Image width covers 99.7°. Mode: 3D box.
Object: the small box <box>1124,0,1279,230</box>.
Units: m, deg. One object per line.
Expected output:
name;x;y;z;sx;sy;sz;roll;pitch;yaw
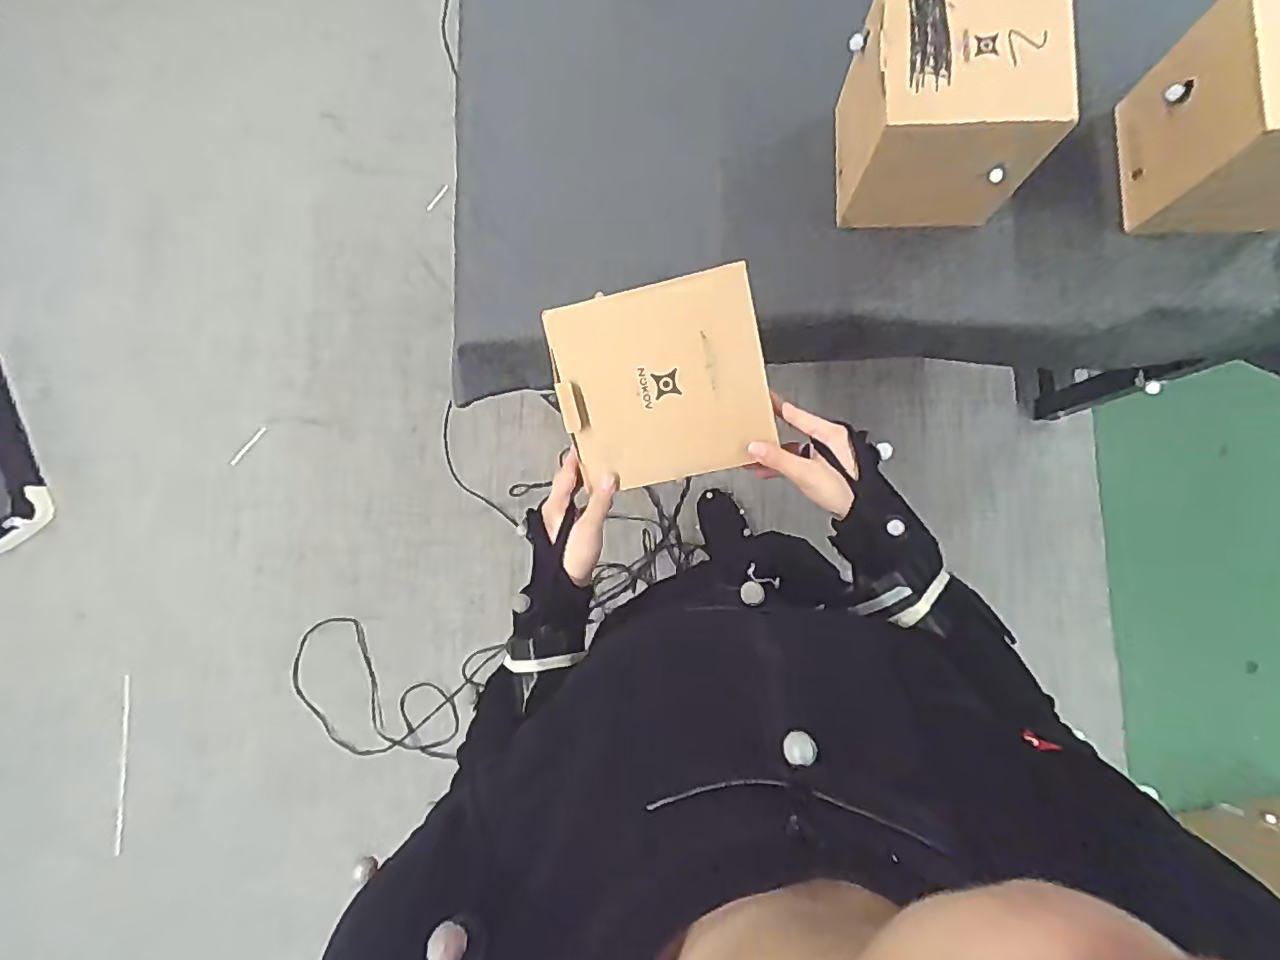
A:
small box;0.647;-0.379;0.556;0.179;0.176;0.168;1;84;5
